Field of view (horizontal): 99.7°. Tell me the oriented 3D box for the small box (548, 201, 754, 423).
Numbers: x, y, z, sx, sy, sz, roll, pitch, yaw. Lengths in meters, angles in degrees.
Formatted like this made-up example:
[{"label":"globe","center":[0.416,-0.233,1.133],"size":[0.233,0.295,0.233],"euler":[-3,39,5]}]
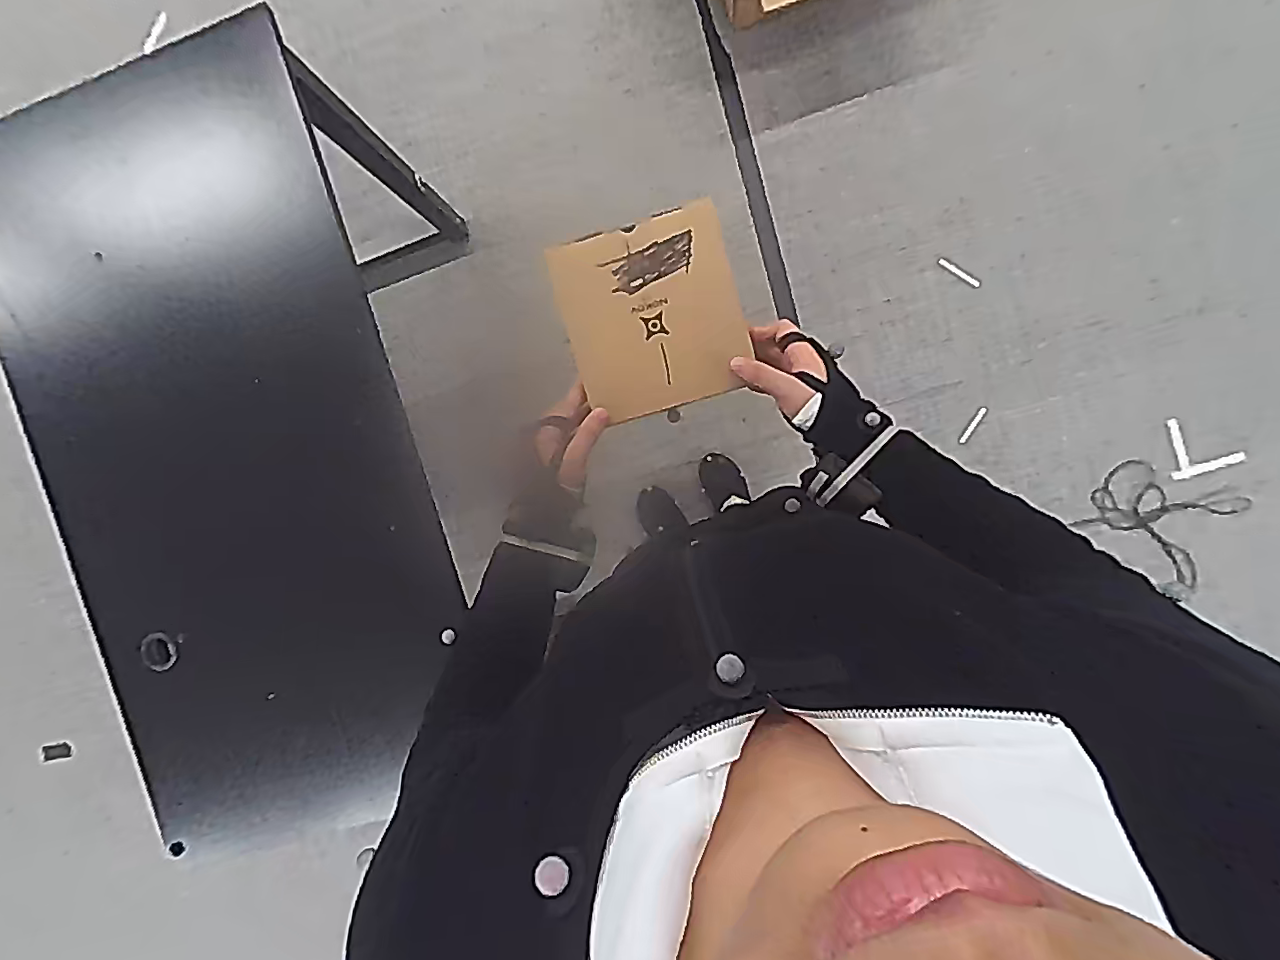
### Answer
[{"label":"small box","center":[0.014,-0.166,0.595],"size":[0.168,0.176,0.179],"euler":[-15,97,5]}]
